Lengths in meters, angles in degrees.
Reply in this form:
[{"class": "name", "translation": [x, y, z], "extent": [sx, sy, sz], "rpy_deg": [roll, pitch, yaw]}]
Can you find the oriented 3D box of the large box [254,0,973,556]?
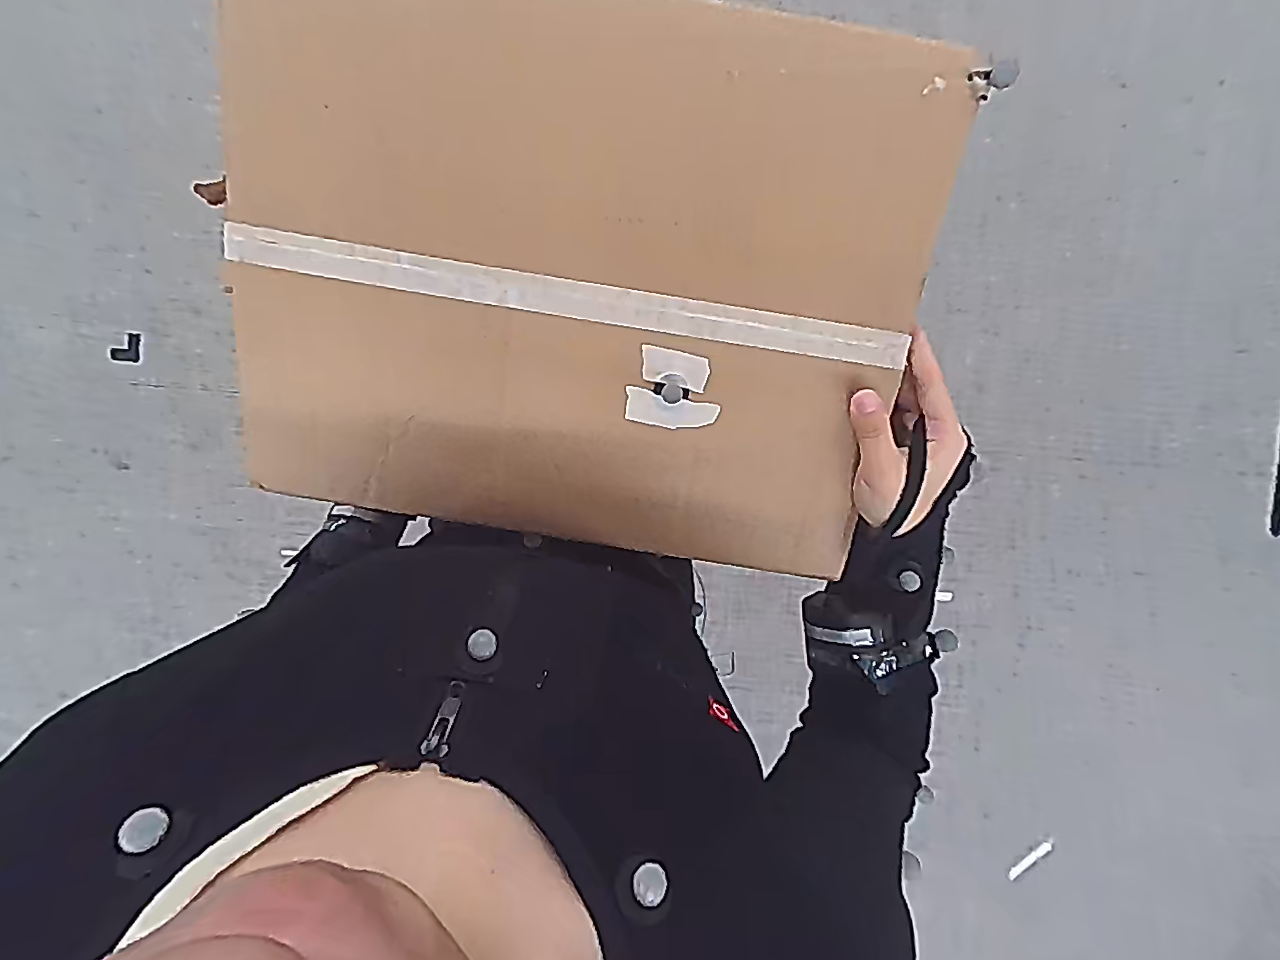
[{"class": "large box", "translation": [-0.031, -0.156, 0.476], "extent": [0.408, 0.320, 0.320], "rpy_deg": [8, 108, -2]}]
